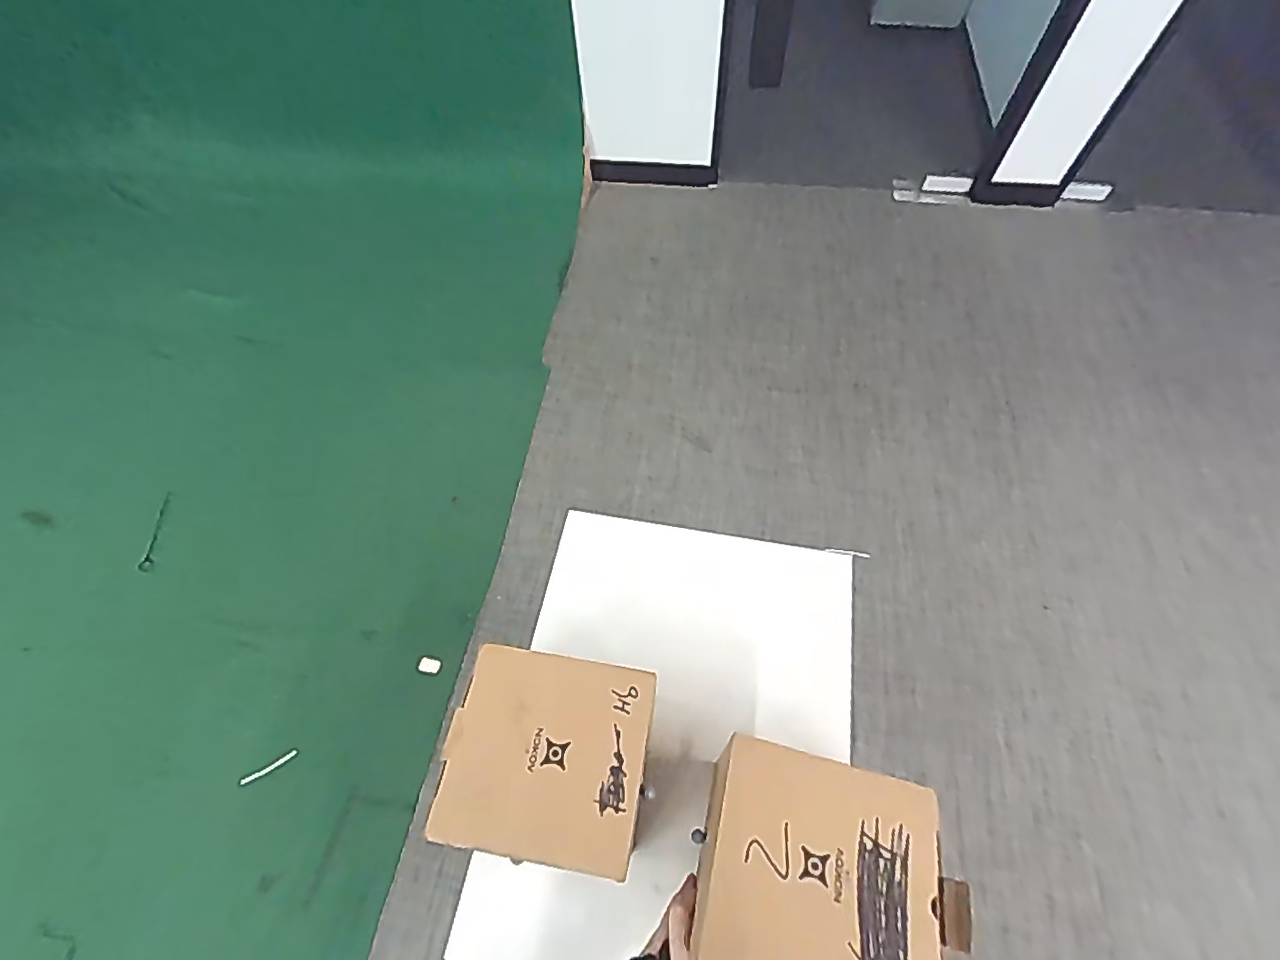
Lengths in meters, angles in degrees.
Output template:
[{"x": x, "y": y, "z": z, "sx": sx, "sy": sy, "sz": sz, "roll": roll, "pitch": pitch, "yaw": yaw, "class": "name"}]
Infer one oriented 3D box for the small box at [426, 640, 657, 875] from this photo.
[{"x": -0.081, "y": 0.279, "z": 0.555, "sx": 0.179, "sy": 0.176, "sz": 0.168, "roll": 8, "pitch": 61, "yaw": 6, "class": "small box"}]
